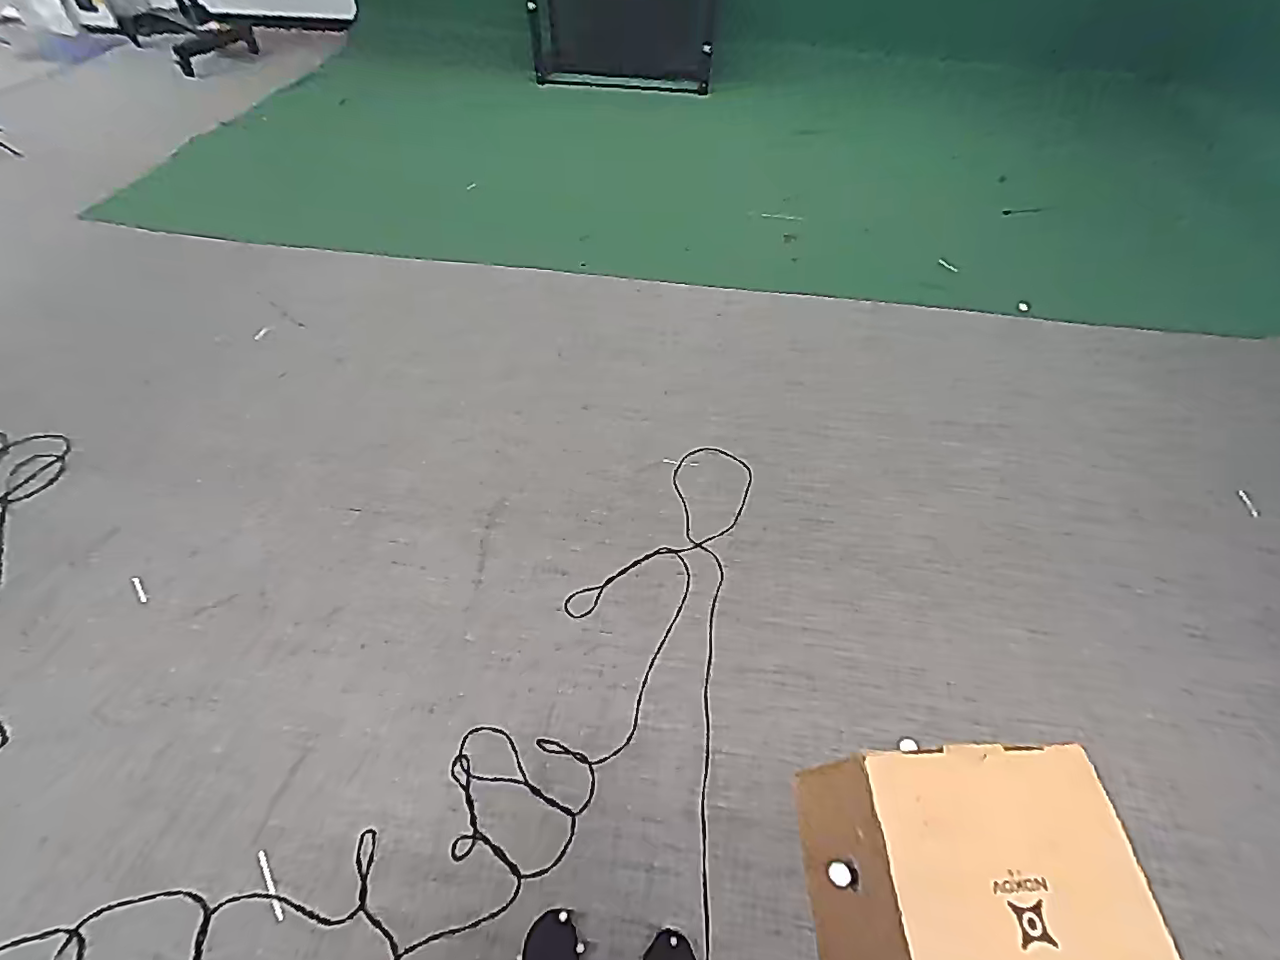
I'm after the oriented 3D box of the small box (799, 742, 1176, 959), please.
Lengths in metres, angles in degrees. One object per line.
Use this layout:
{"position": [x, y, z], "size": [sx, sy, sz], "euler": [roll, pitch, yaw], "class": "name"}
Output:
{"position": [0.234, 0.309, 0.404], "size": [0.168, 0.176, 0.179], "euler": [-1, 56, -4], "class": "small box"}
